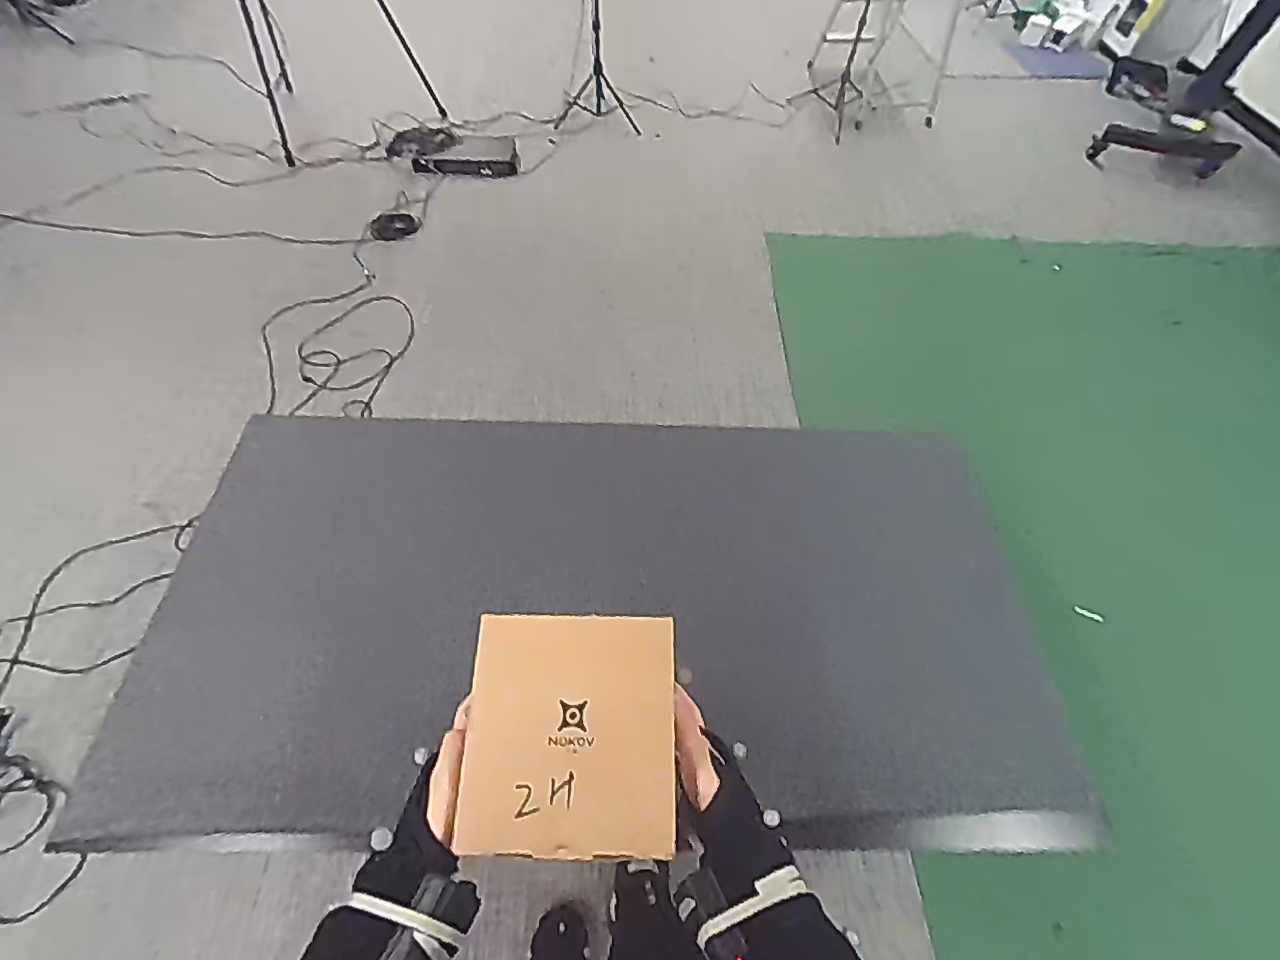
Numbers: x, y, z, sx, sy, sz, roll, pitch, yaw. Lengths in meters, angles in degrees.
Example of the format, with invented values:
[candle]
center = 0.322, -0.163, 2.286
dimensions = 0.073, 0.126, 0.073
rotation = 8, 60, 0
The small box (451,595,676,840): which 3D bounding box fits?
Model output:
[small box]
center = -0.055, 0.213, 0.498
dimensions = 0.168, 0.176, 0.179
rotation = 1, 65, 0
